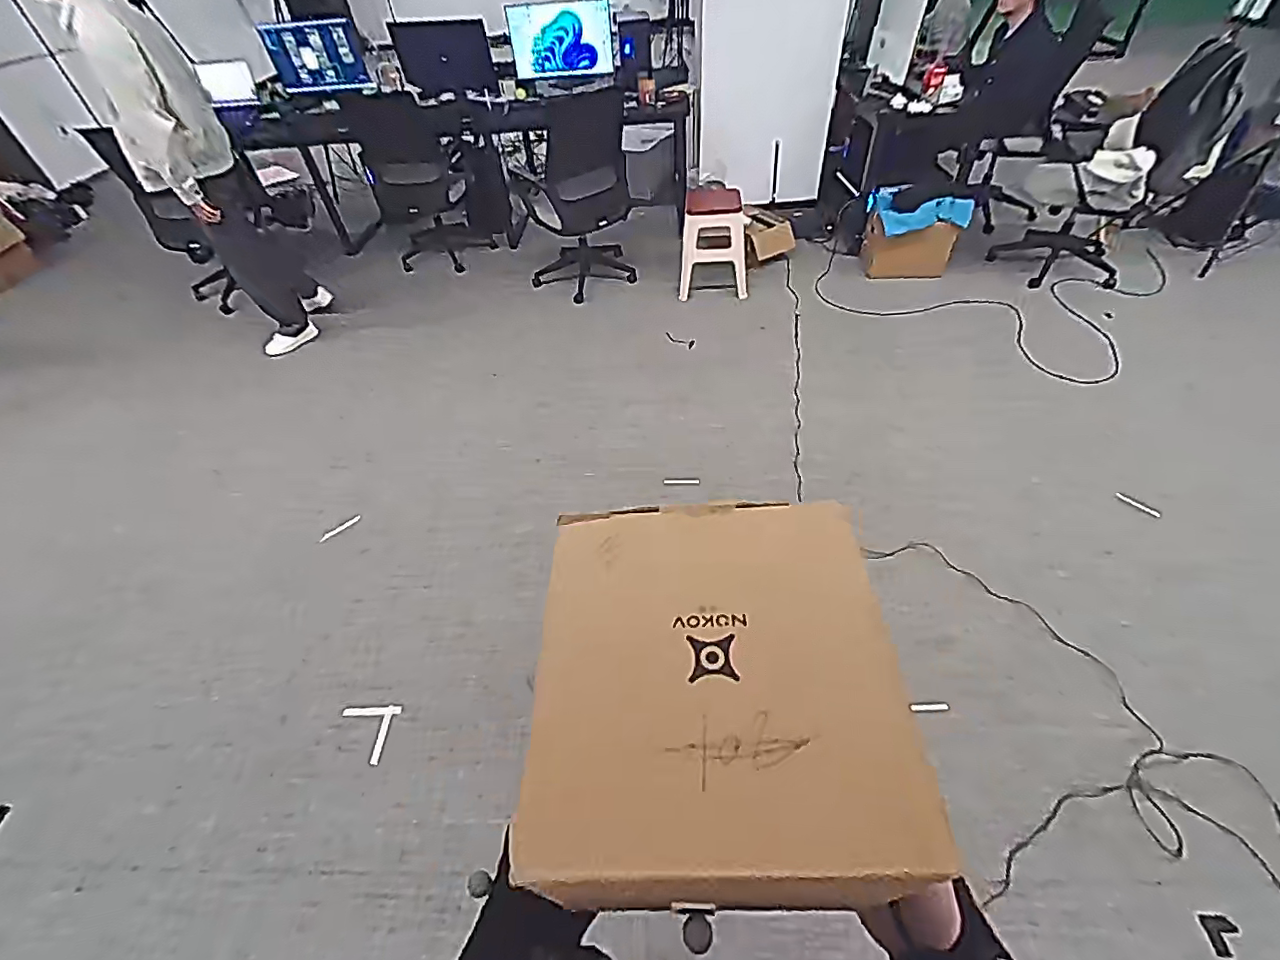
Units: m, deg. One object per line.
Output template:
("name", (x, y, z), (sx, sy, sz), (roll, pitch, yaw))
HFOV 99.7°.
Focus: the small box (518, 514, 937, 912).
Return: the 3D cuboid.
("small box", (0.037, 0.141, 0.324), (0.168, 0.176, 0.179), (-4, 49, 3))
